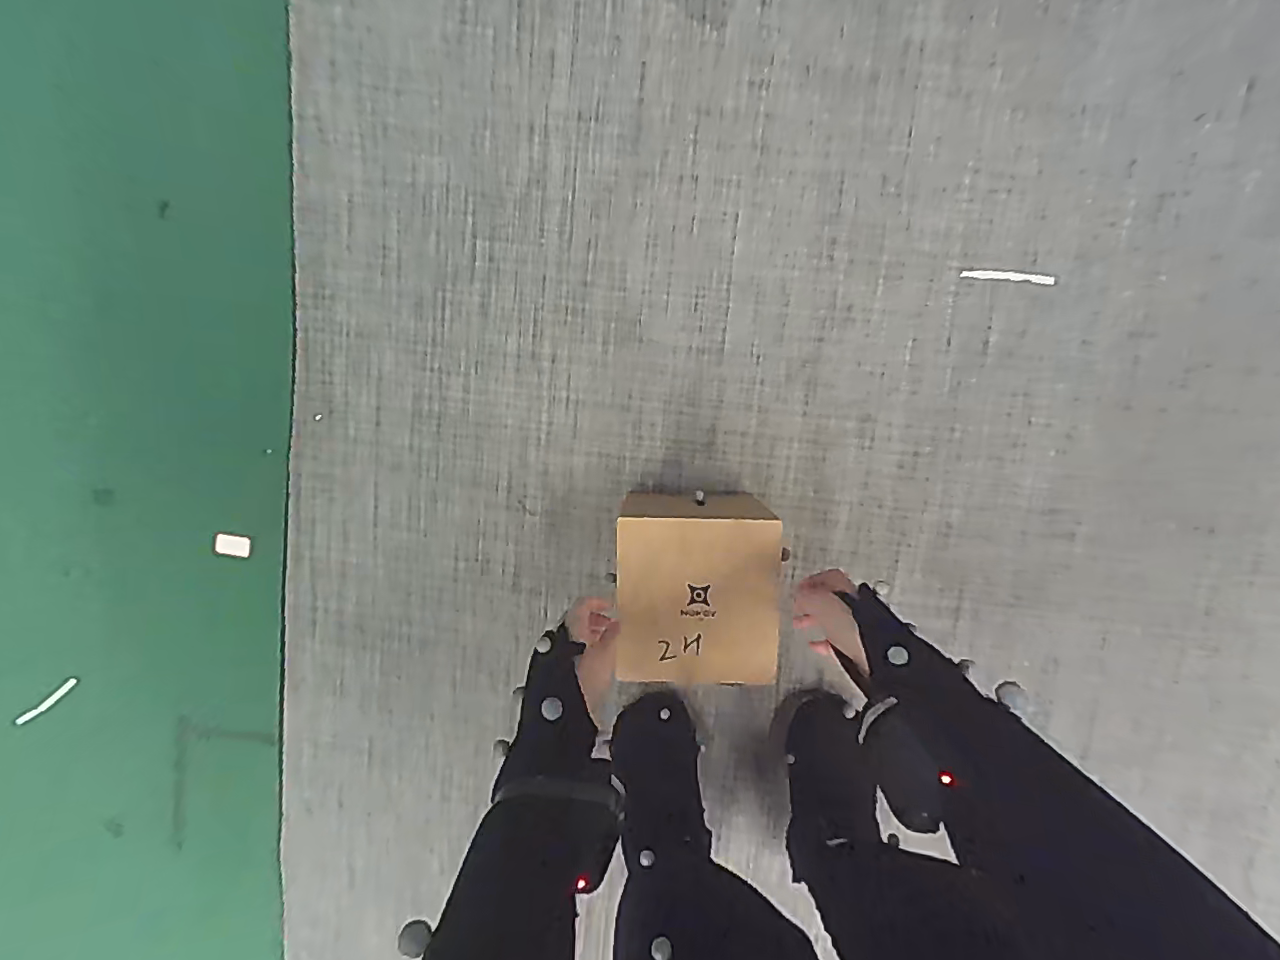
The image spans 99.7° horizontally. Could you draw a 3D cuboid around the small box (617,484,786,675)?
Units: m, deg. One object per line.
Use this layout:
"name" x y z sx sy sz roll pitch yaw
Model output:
"small box" 0.062 0.100 0.619 0.168 0.176 0.179 1 97 3
